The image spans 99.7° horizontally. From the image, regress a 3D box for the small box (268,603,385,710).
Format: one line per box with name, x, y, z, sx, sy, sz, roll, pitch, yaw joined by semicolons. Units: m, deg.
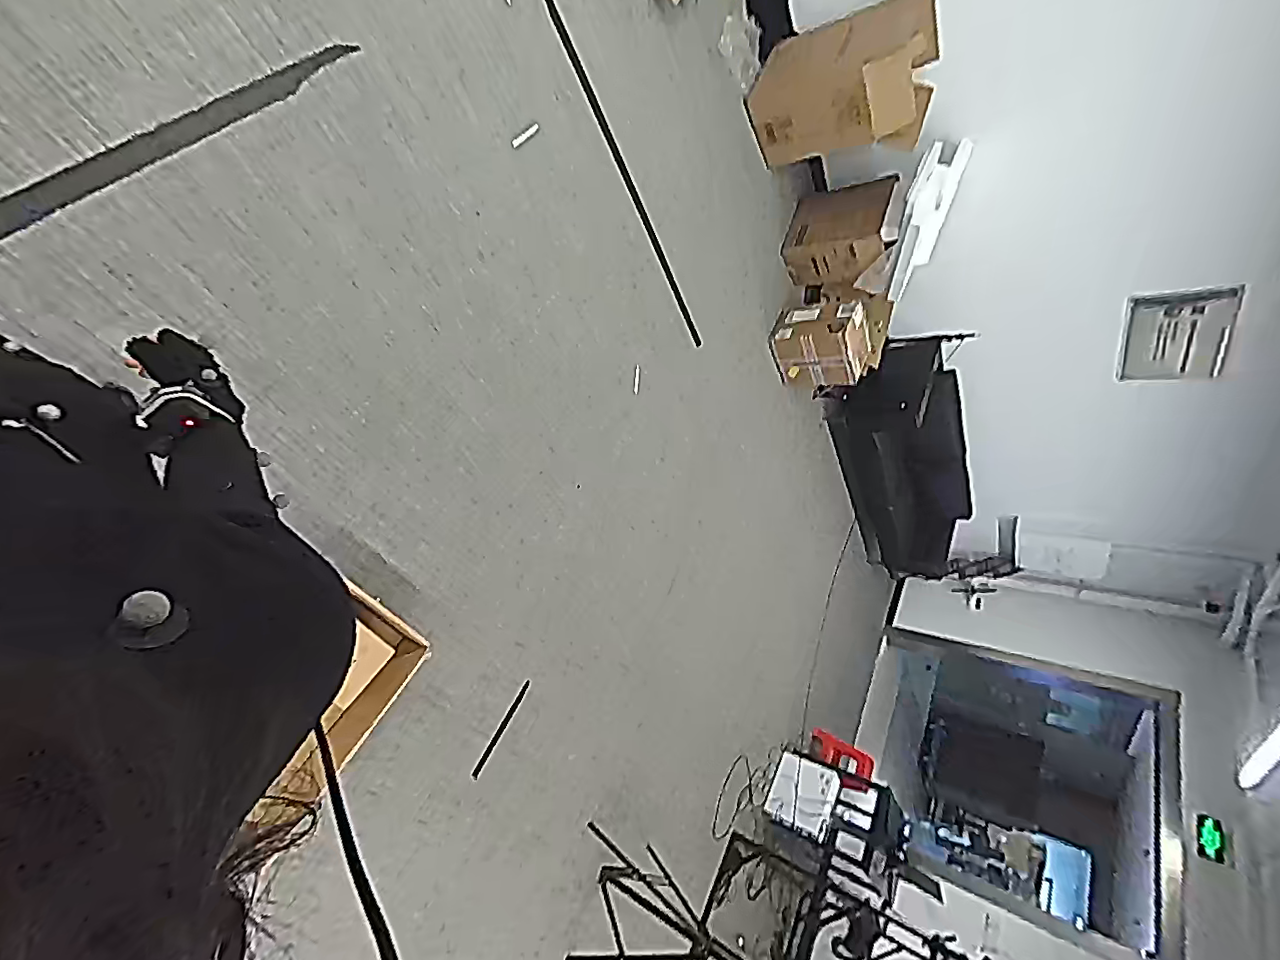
small box;-0.804;0.443;1.377;0.179;0.176;0.168;-55;134;-33
